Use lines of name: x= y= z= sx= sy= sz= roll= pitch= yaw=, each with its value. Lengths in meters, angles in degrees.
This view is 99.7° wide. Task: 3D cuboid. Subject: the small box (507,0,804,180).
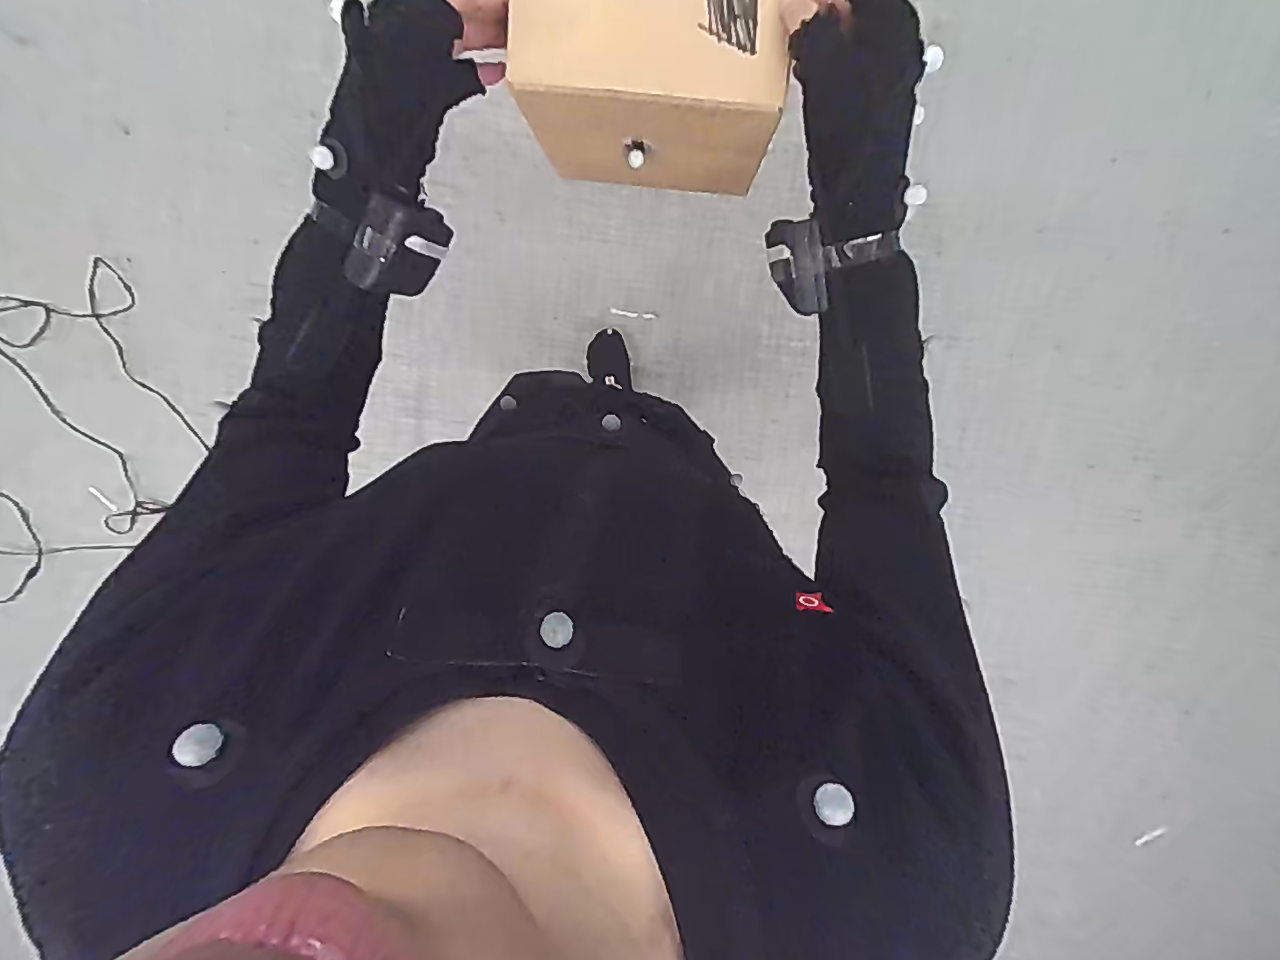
small box: x=0.017 y=-0.336 z=0.391 sx=0.179 sy=0.176 sz=0.168 roll=6 pitch=102 yaw=2
